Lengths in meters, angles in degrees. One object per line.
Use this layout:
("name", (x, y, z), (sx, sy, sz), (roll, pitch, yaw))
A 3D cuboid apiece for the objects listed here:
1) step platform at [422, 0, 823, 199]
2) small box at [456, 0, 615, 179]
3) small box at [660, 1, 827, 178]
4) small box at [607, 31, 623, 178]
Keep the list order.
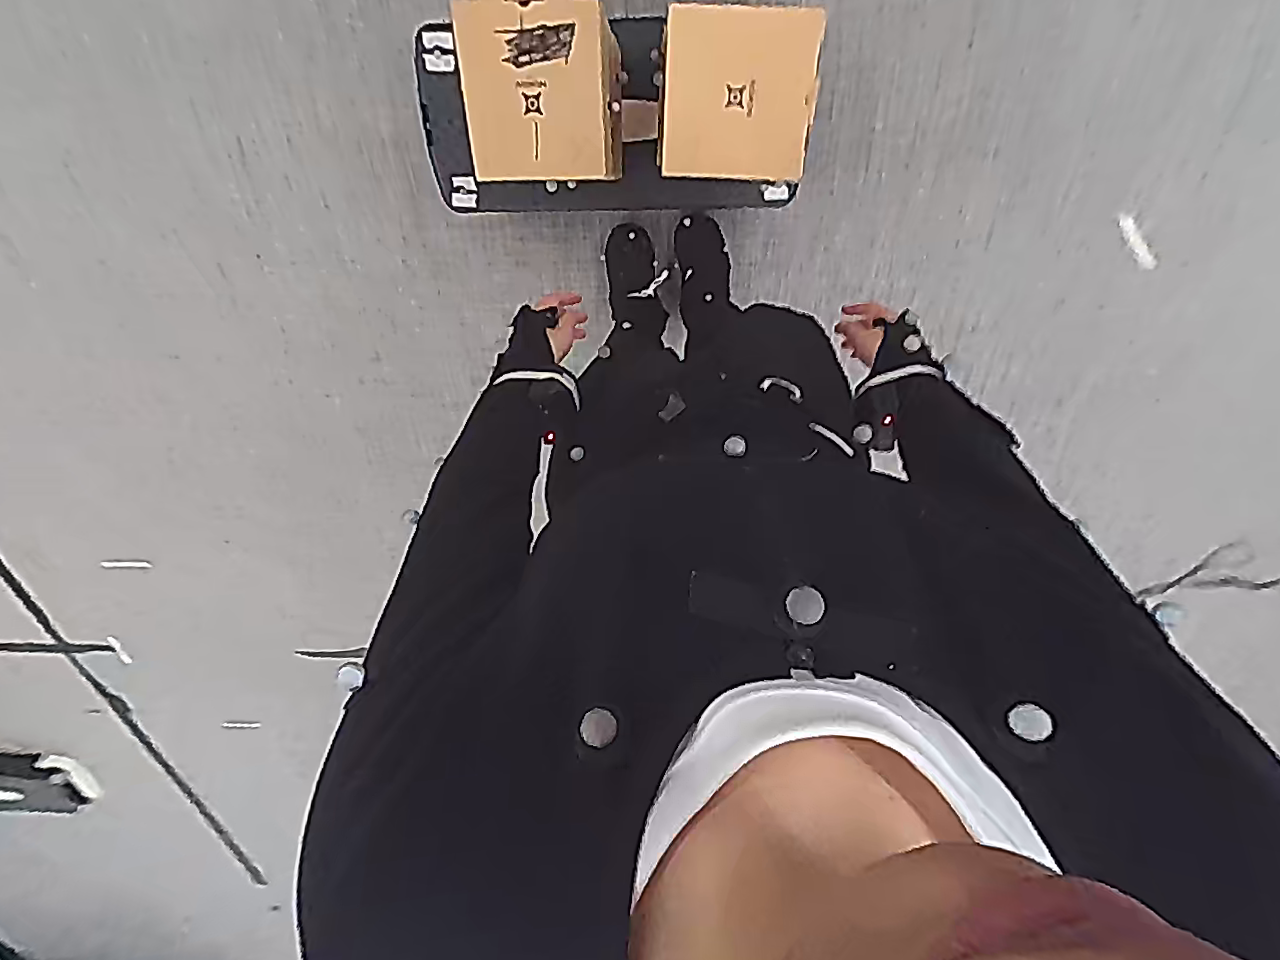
("step platform", (-0.027, -0.676, 0.981), (0.684, 0.204, 0.286), (0, 120, 2))
("small box", (-0.121, -0.492, 0.700), (0.168, 0.176, 0.179), (1, 121, 1))
("small box", (0.117, -0.487, 0.698), (0.179, 0.176, 0.168), (2, 121, 0))
("small box", (-0.114, -0.573, 0.843), (0.168, 0.176, 0.179), (1, 121, 1))
